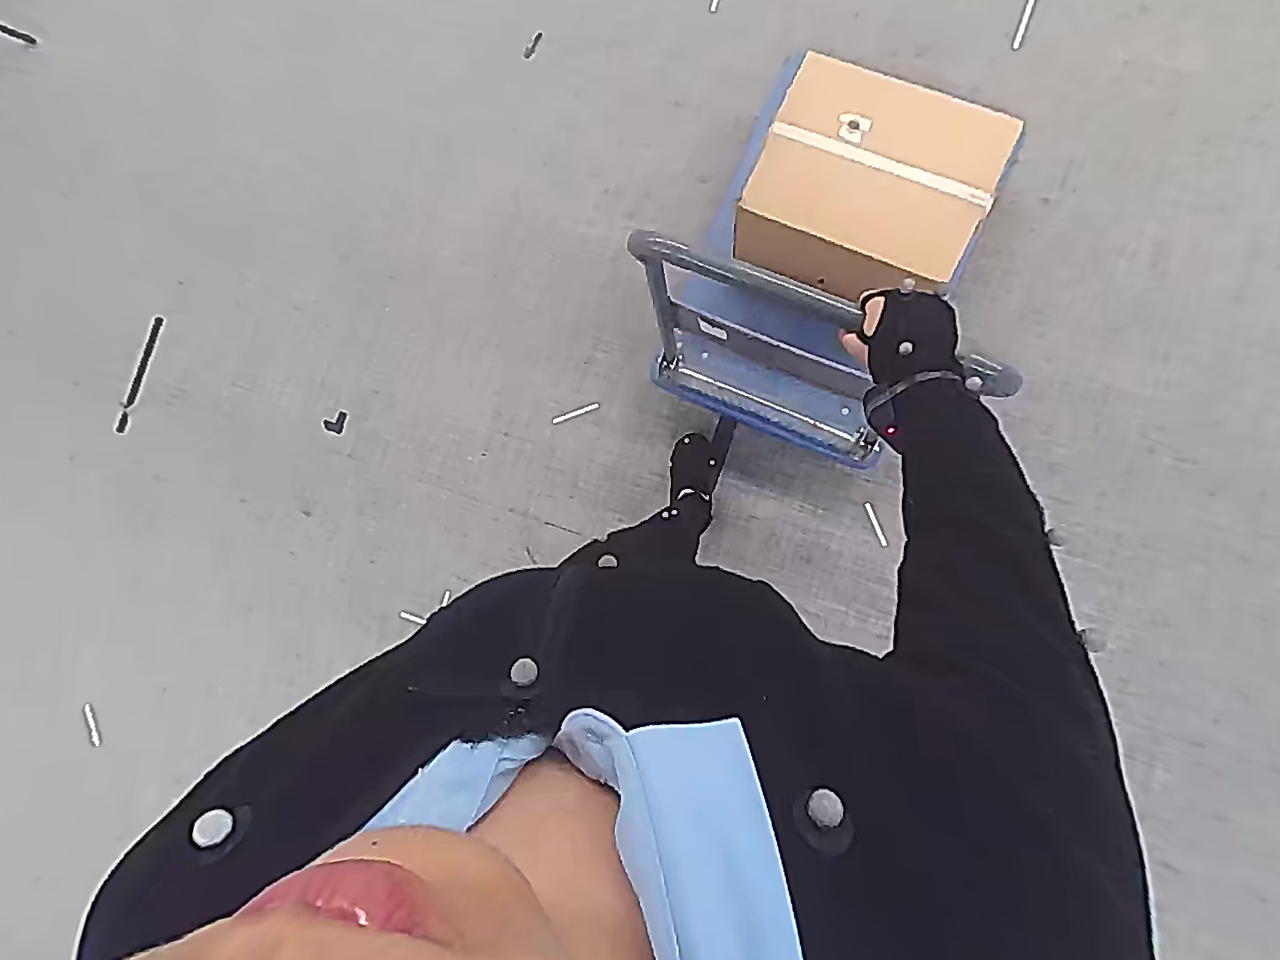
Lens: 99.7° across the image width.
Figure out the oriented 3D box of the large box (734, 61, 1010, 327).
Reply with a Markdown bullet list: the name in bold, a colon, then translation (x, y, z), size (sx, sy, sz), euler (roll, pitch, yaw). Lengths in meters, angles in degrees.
- **large box**: translation (0.445, -0.569, 1.137), size (0.408, 0.320, 0.320), euler (25, 91, 10)
